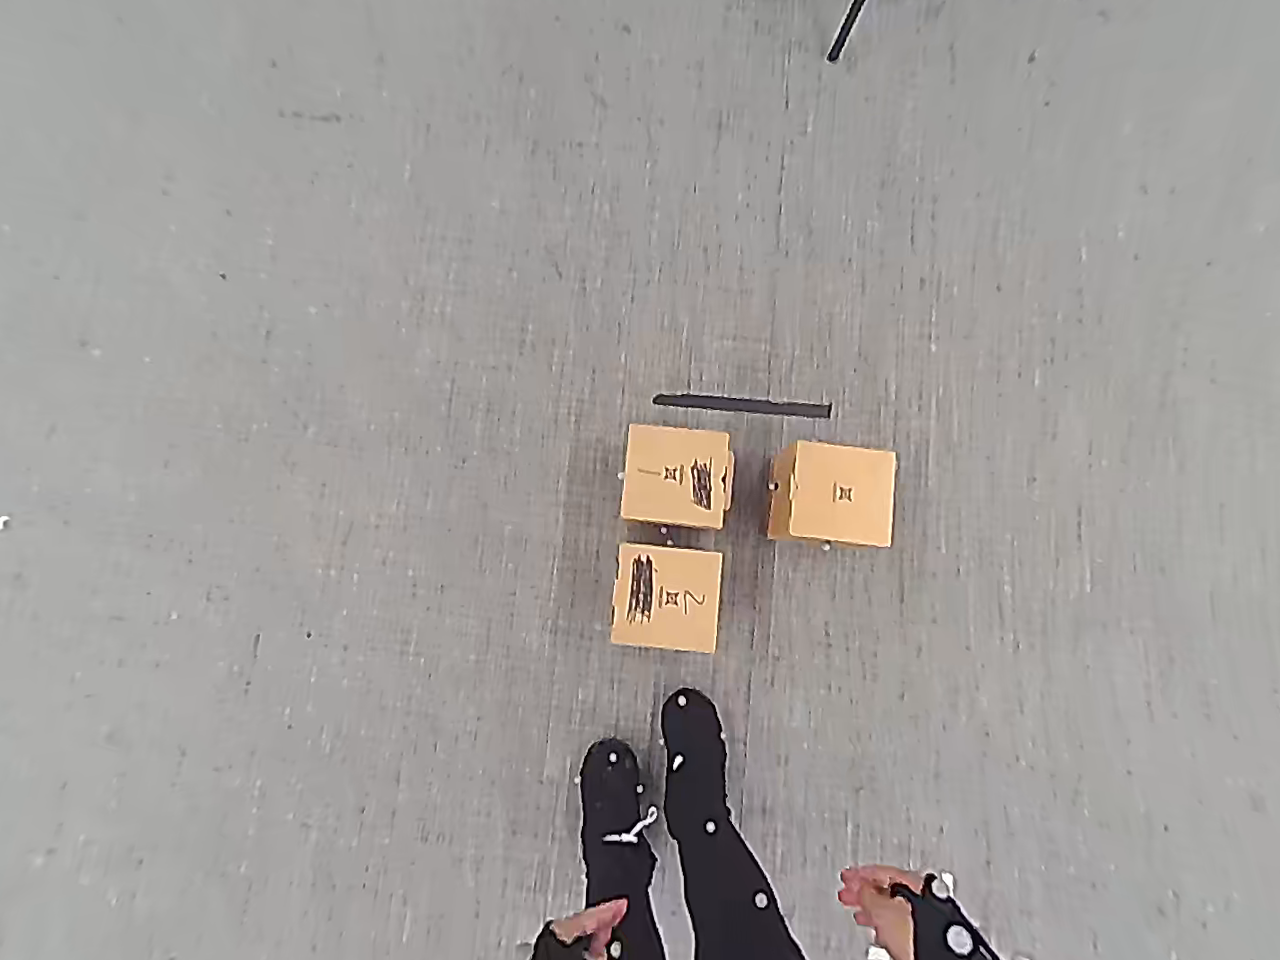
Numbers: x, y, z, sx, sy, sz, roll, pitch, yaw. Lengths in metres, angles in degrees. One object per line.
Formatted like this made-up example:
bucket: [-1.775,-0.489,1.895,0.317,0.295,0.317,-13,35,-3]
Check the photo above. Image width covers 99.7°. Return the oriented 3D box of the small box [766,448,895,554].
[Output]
small box: [0.347,0.044,1.007,0.179,0.176,0.168,7,82,2]

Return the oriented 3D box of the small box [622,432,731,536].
small box: [0.064,0.015,1.010,0.179,0.176,0.168,6,82,2]
